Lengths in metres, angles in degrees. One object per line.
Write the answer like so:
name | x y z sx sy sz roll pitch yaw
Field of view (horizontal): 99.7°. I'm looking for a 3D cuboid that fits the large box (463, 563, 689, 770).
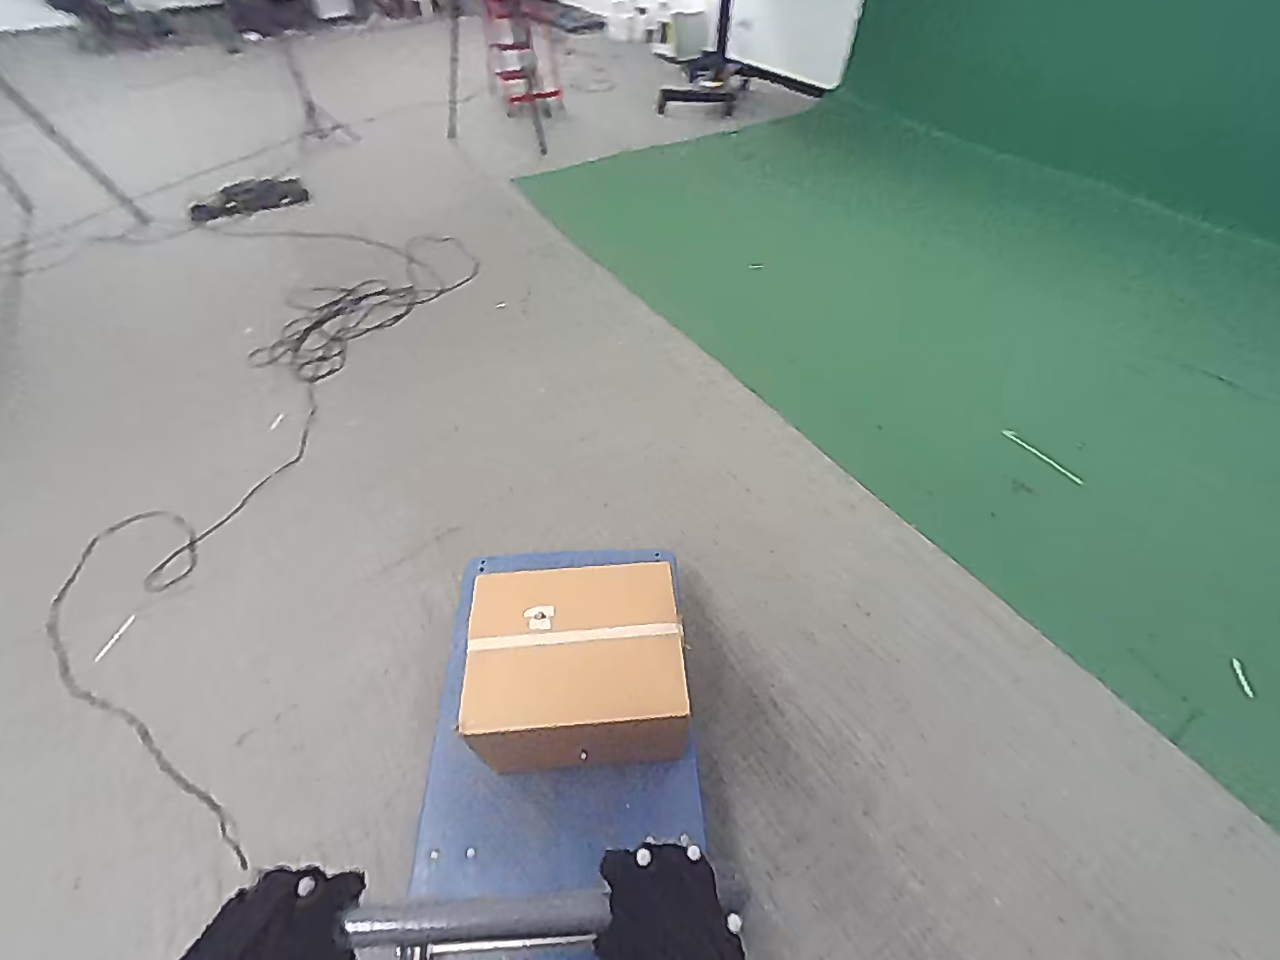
large box | -0.119 0.404 1.155 0.408 0.320 0.320 -4 50 -2
